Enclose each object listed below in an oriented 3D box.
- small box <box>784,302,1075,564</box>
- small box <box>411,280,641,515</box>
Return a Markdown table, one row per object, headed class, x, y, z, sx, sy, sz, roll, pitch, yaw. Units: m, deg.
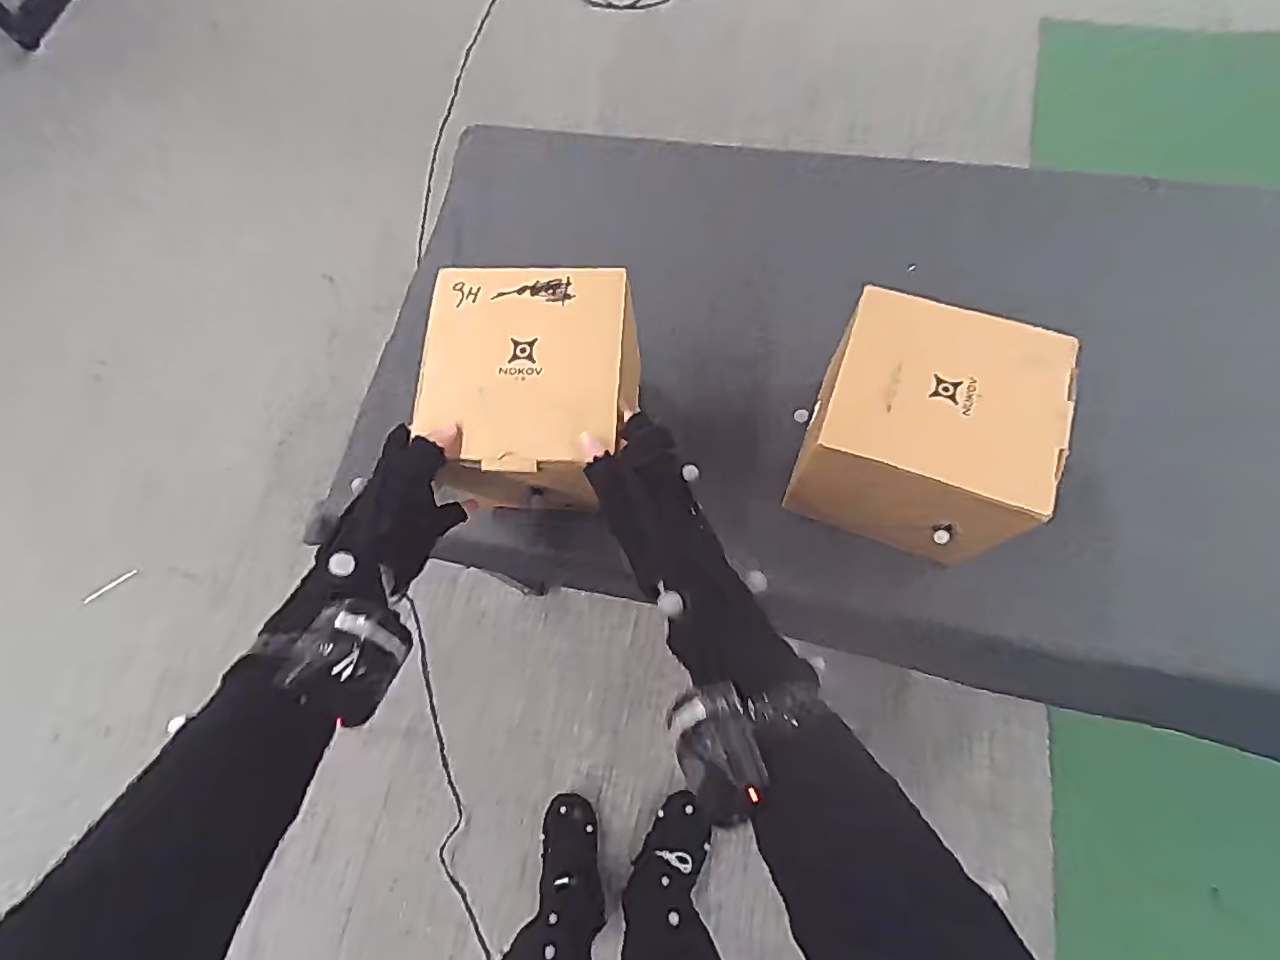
| class | x | y | z | sx | sy | sz | roll | pitch | yaw |
| --- | --- | --- | --- | --- | --- | --- | --- | --- | --- |
| small box | 0.255 | -0.032 | 0.513 | 0.179 | 0.176 | 0.168 | 19 | 72 | 12 |
| small box | -0.089 | -0.065 | 0.515 | 0.168 | 0.176 | 0.179 | 3 | 77 | 5 |
